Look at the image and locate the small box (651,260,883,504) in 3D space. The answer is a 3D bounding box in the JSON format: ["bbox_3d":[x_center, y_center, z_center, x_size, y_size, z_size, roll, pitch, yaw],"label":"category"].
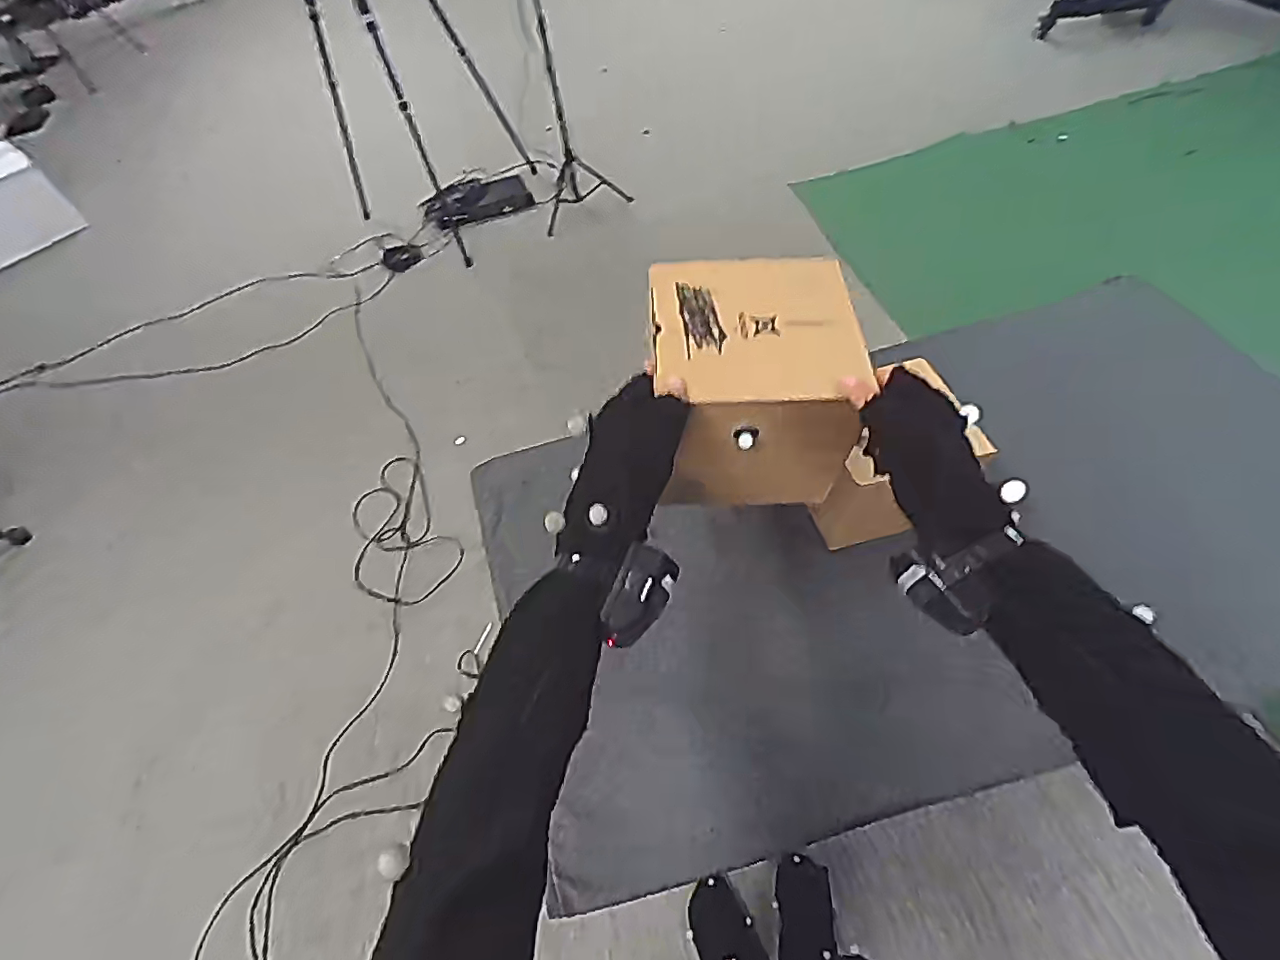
[{"bbox_3d":[0.100,-0.086,0.518,0.179,0.176,0.168,-1,59,0],"label":"small box"}]

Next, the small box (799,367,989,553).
[{"bbox_3d":[0.318,-0.022,0.740,0.179,0.176,0.168,-15,55,-3],"label":"small box"}]
